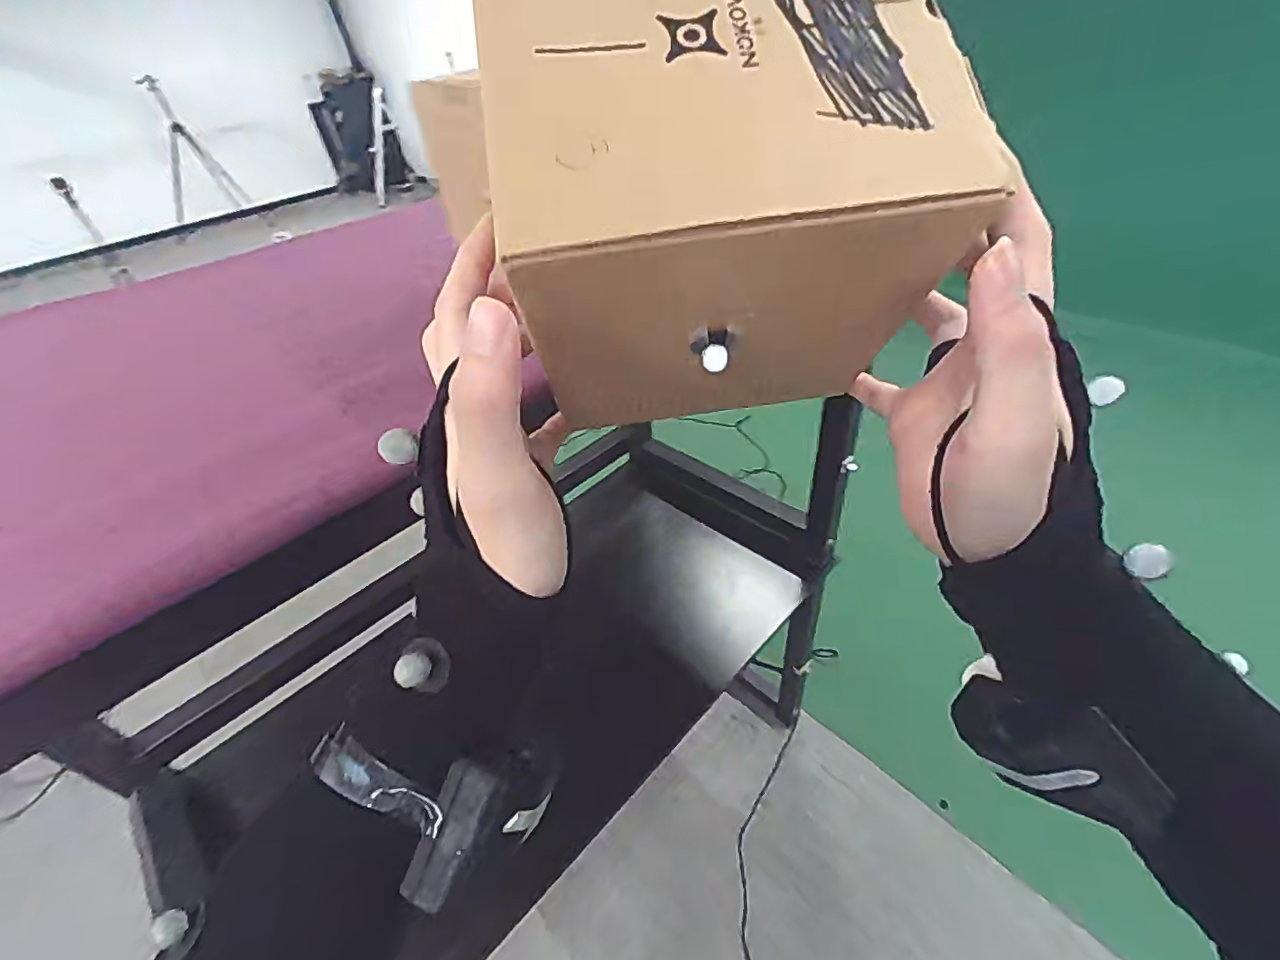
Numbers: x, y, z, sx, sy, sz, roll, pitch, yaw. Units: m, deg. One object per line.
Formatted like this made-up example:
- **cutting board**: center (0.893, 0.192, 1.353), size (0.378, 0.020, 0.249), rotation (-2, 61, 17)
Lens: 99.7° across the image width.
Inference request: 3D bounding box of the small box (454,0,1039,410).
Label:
- **small box**: center (0.026, -0.143, 0.254), size (0.179, 0.176, 0.168), rotation (-6, 76, 0)

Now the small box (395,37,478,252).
- **small box**: center (-0.080, -0.300, 0.489), size (0.179, 0.176, 0.168), rotation (-34, 48, -28)
